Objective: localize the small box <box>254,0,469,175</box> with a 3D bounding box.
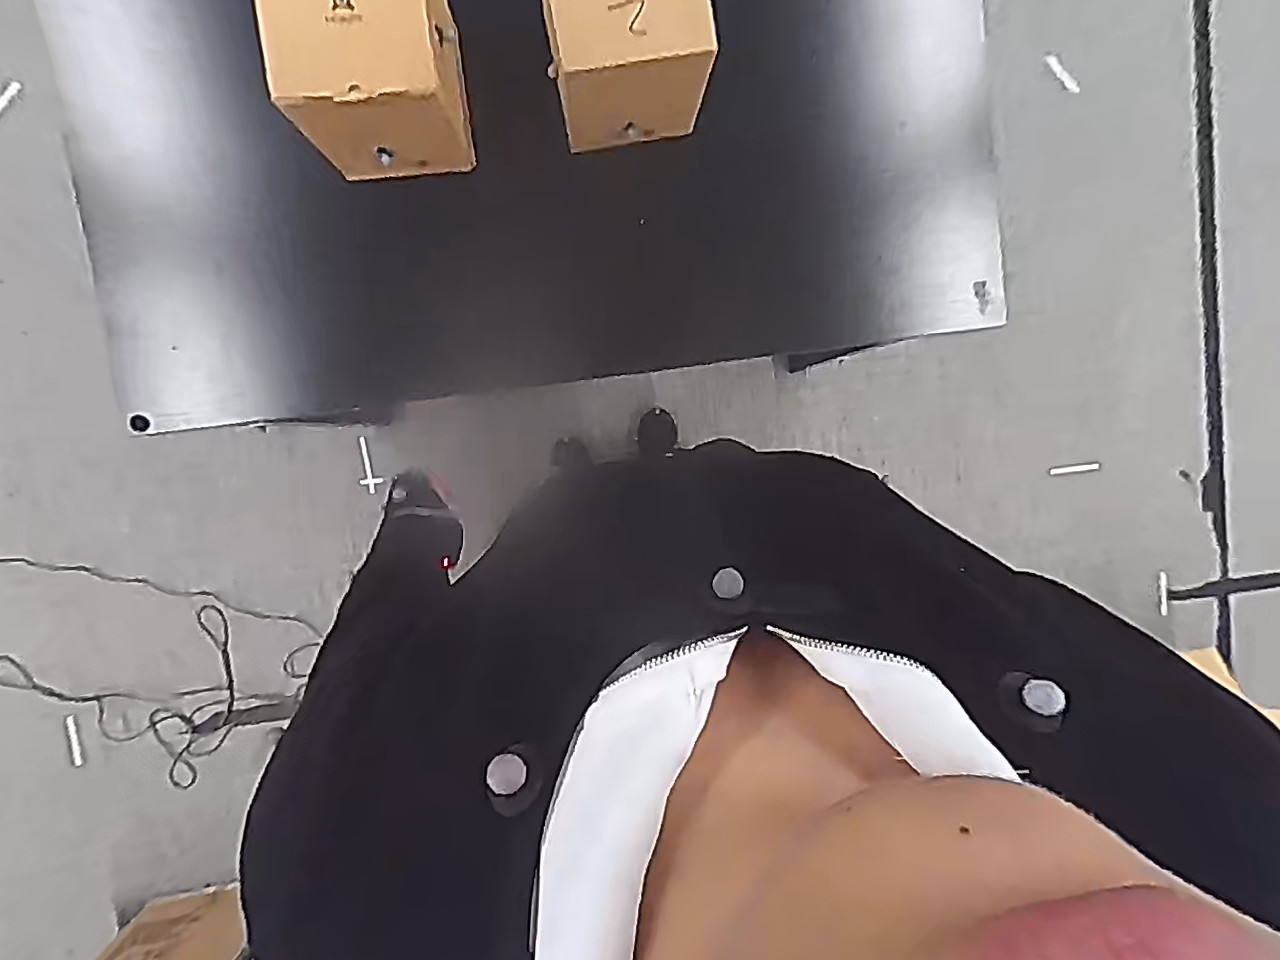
[{"bbox_3d":[-0.304,-0.482,0.617,0.168,0.176,0.179,-7,96,-4],"label":"small box"}]
